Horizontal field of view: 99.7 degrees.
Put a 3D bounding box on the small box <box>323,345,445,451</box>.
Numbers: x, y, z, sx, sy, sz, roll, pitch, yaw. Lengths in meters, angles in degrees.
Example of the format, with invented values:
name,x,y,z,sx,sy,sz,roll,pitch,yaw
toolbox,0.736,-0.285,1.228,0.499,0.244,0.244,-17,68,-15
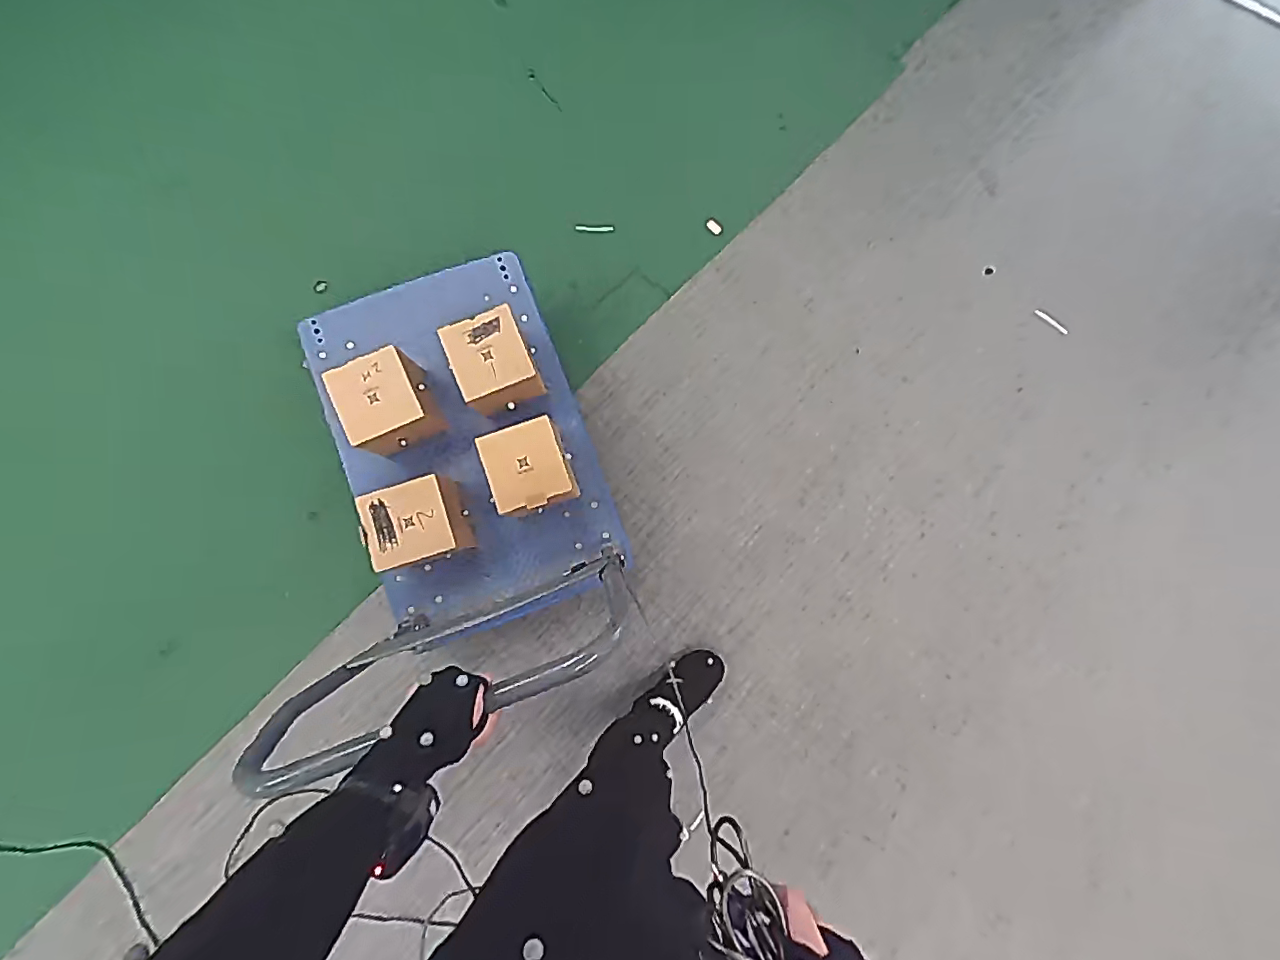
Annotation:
name,x,y,z,sx,sy,sz,roll,pitch,yaw
small box,-0.568,-0.175,1.224,0.168,0.176,0.179,-24,86,-5

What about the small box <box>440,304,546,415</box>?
name,x,y,z,sx,sy,sz,roll,pitch,yaw
small box,-0.330,-0.269,1.241,0.168,0.176,0.179,-22,87,-3

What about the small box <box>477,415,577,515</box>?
name,x,y,z,sx,sy,sz,roll,pitch,yaw
small box,-0.248,-0.026,1.224,0.168,0.176,0.179,-19,87,-4
